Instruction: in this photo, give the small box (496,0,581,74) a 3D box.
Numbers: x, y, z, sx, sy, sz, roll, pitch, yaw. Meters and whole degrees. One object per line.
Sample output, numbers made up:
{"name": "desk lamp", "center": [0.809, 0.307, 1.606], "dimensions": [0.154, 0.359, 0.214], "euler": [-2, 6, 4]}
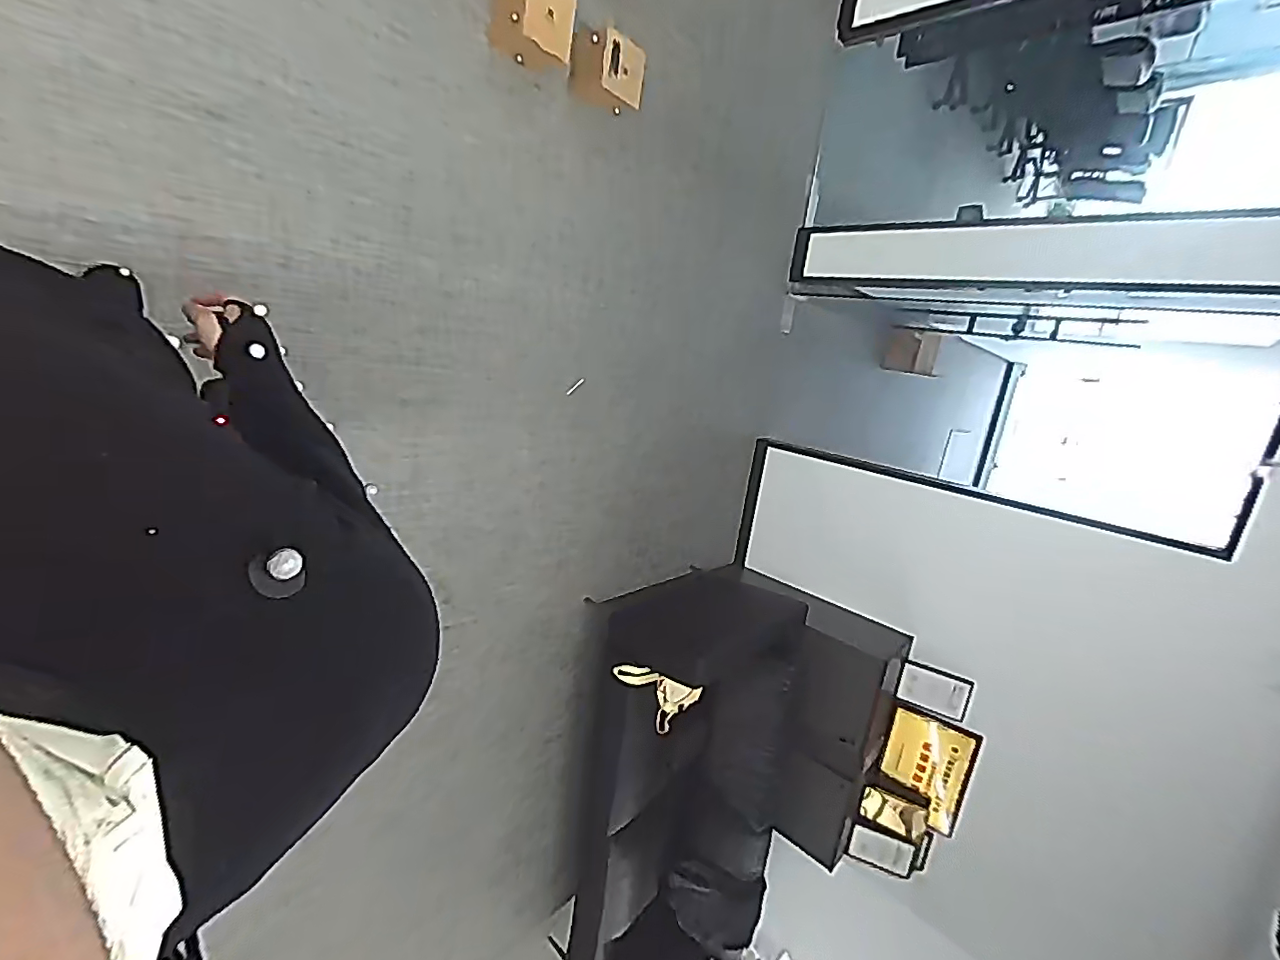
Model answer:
{"name": "small box", "center": [-0.297, -1.322, 1.561], "dimensions": [0.168, 0.176, 0.179], "euler": [-2, 108, -47]}
